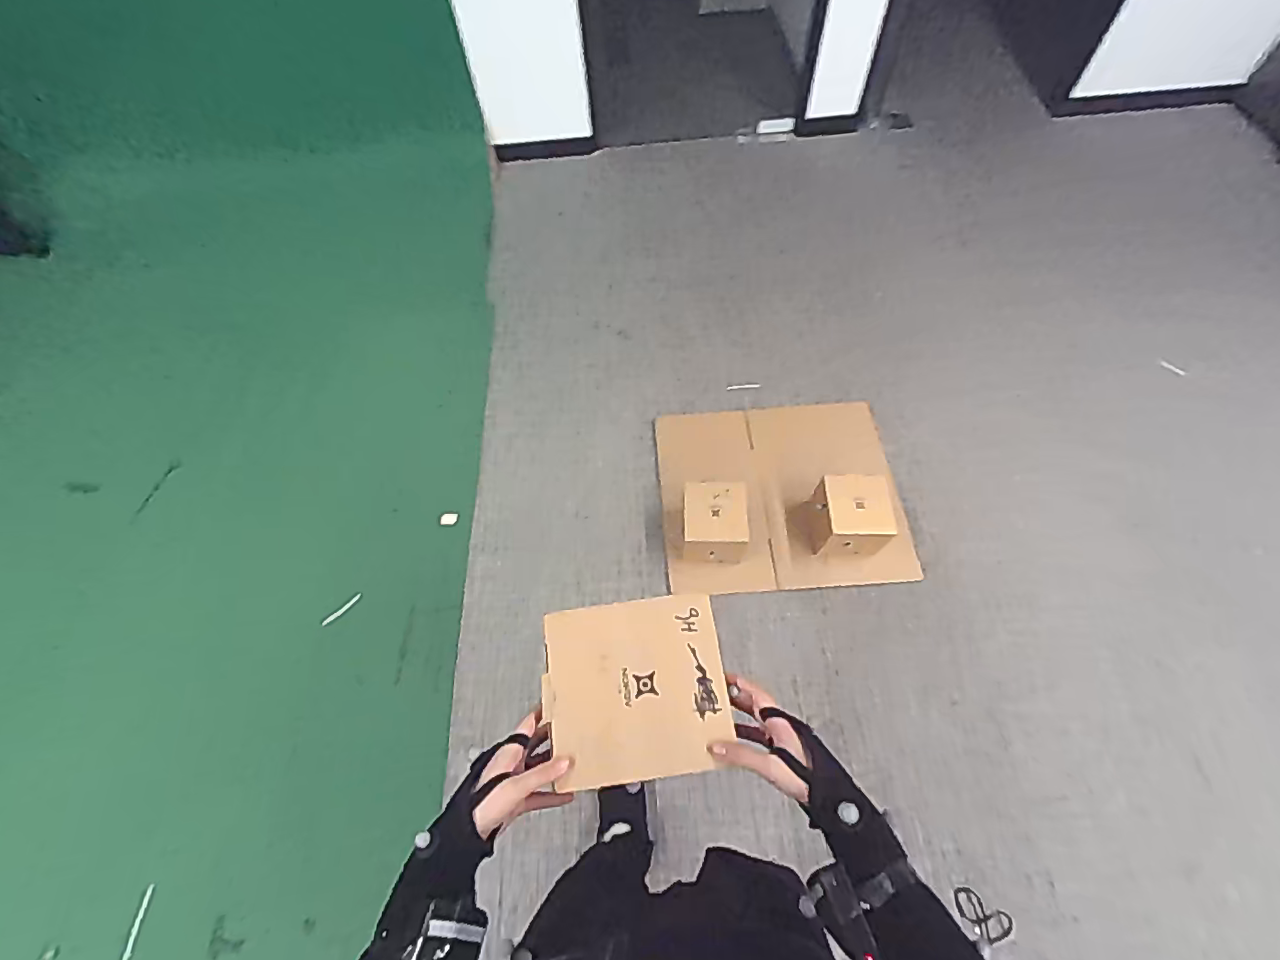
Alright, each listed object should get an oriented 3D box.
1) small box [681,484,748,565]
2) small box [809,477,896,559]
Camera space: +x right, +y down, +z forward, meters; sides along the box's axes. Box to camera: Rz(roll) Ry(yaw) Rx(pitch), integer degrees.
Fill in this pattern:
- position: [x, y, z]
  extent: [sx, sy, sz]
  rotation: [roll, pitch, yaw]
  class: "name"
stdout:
- position: [0.199, 0.126, 1.477]
  extent: [0.168, 0.176, 0.179]
  rotation: [1, 61, 2]
  class: "small box"
- position: [0.569, 0.108, 1.472]
  extent: [0.168, 0.176, 0.179]
  rotation: [0, 60, 2]
  class: "small box"
